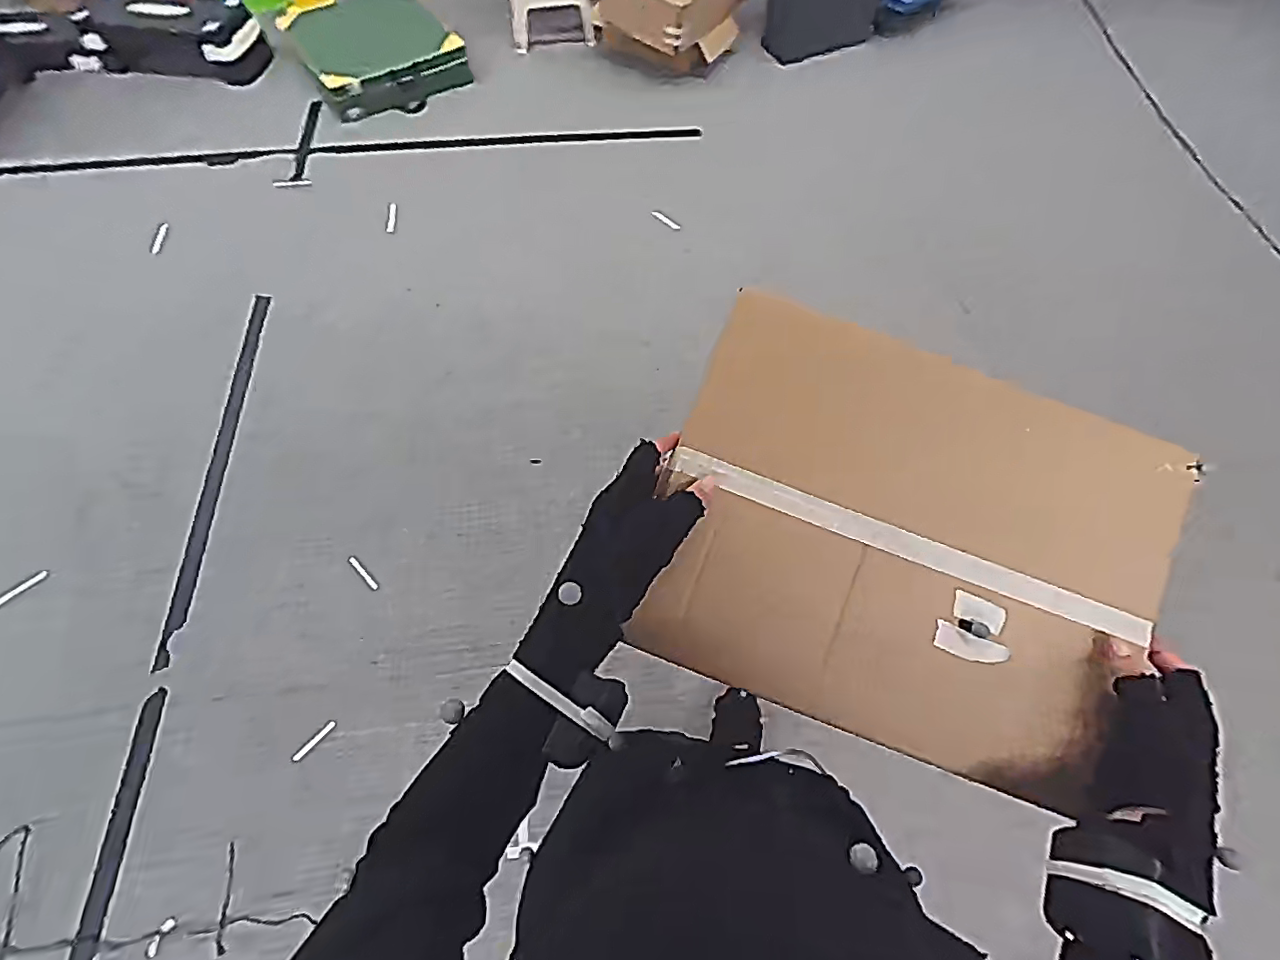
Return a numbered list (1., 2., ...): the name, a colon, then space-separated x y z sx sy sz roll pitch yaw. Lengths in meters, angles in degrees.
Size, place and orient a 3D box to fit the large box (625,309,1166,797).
1. large box: 0.218 0.067 0.608 0.408 0.320 0.320 21 86 1
